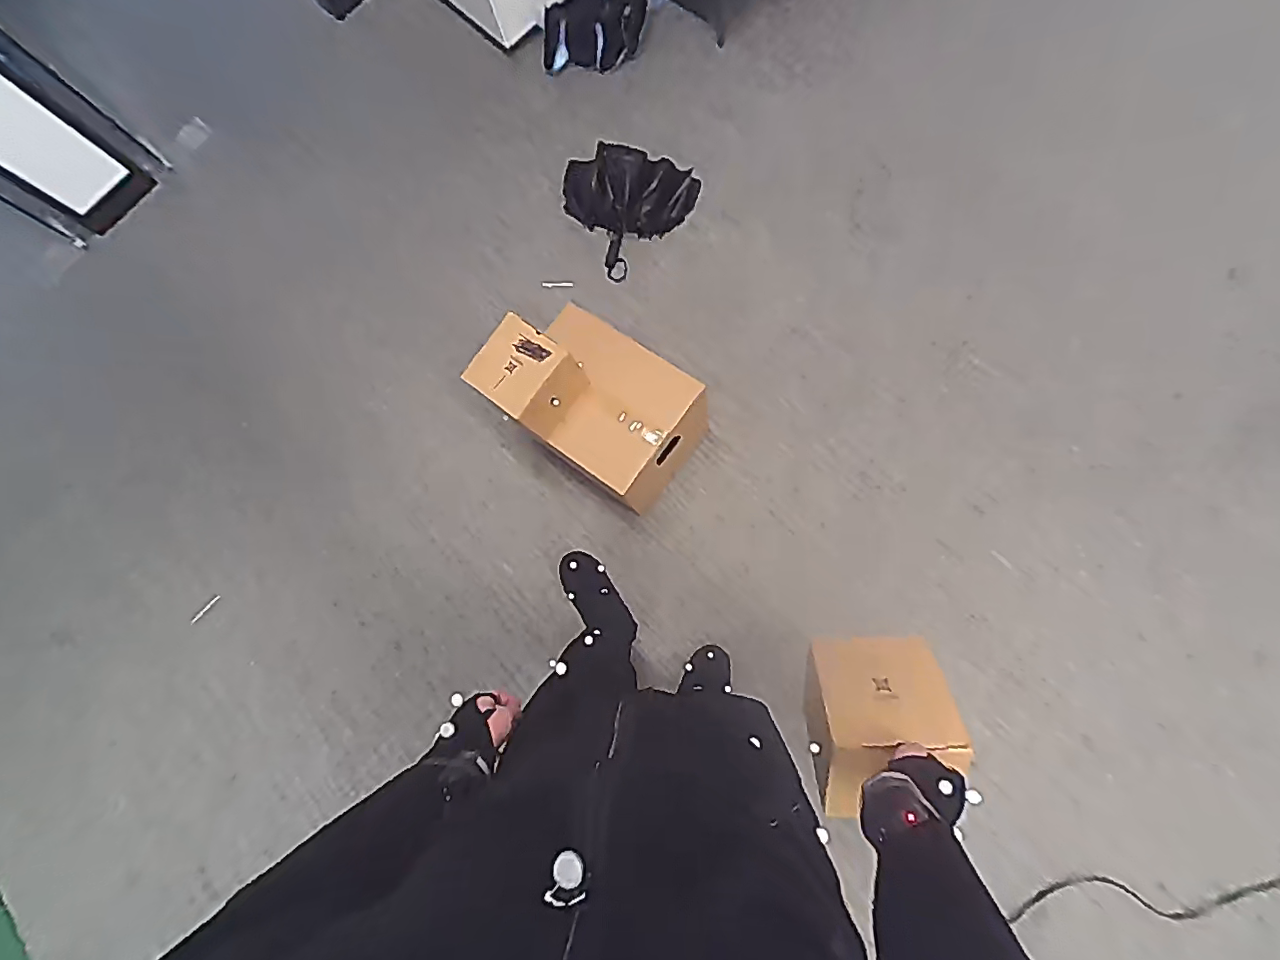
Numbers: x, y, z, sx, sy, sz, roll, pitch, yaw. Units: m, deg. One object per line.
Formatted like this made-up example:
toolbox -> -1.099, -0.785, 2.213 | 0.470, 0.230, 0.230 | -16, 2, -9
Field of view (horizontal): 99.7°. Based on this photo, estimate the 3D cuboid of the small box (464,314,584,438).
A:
small box -> -0.240, -0.220, 1.181 | 0.168, 0.176, 0.179 | 37, 88, 14

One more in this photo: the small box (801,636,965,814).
small box -> 0.330, 0.347, 0.773 | 0.168, 0.179, 0.176 | -1, 121, 7
